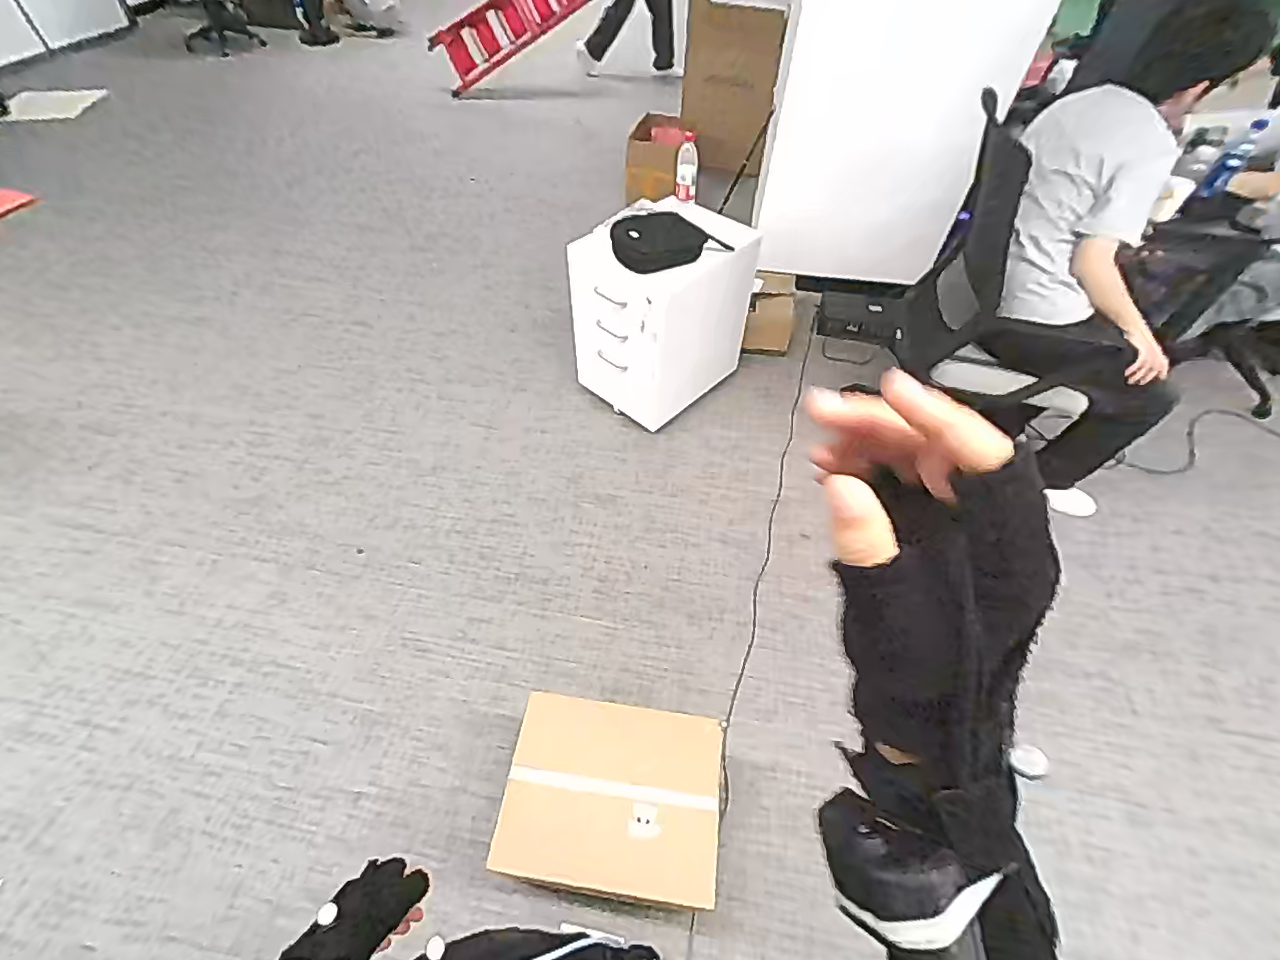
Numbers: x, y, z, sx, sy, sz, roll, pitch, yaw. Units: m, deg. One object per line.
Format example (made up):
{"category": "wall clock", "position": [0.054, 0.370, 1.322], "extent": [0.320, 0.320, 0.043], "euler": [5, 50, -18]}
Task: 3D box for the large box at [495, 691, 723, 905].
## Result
{"category": "large box", "position": [-0.050, 0.681, 1.155], "extent": [0.408, 0.320, 0.320], "euler": [8, 52, 4]}
